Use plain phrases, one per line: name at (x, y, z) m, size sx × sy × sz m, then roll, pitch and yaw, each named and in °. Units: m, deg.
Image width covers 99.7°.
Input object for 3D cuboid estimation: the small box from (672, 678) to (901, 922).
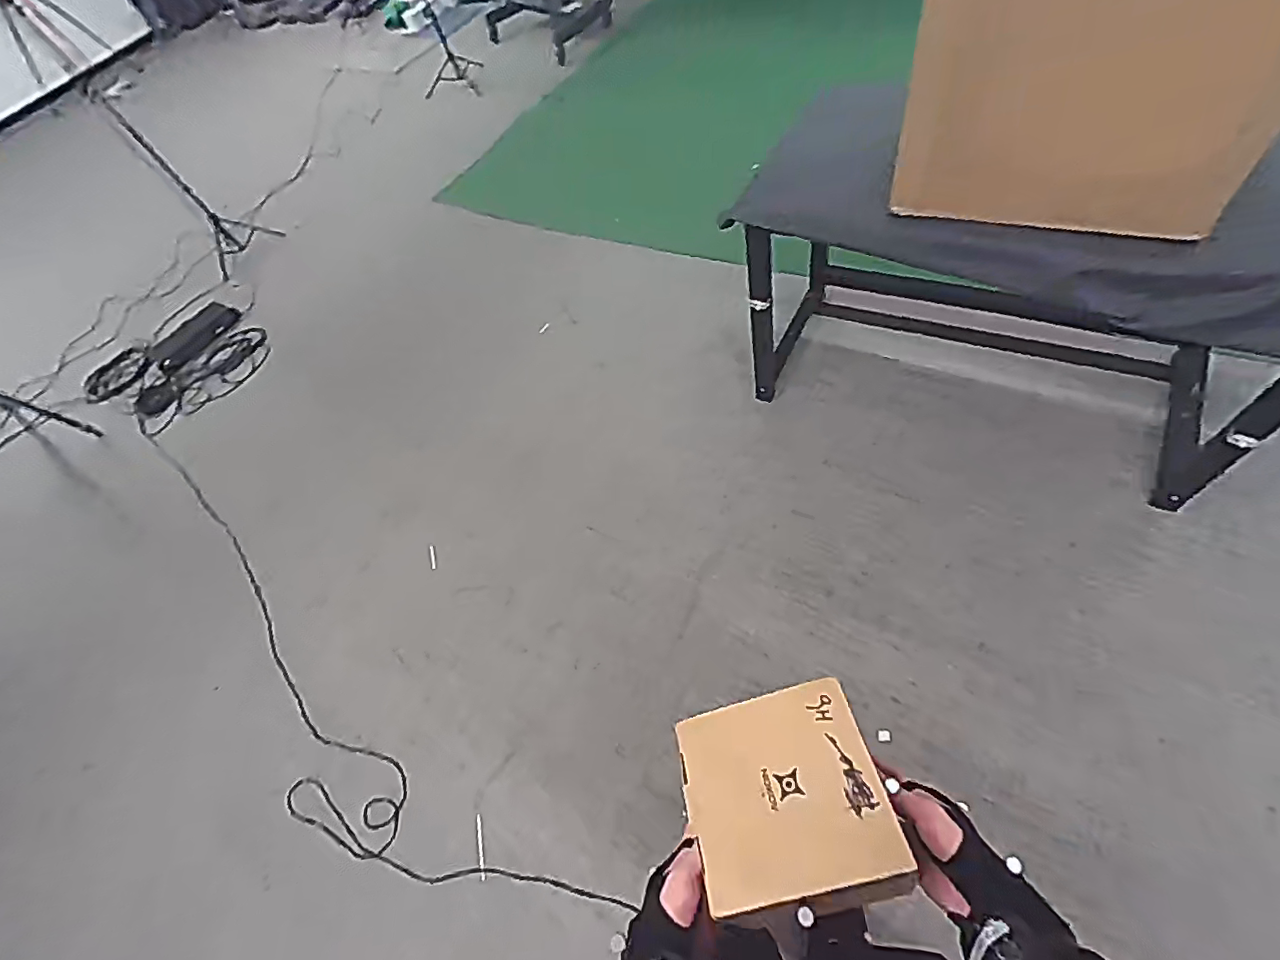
small box at (0.150, 0.335, 0.558) m, size 0.179 × 0.176 × 0.168 m, roll -20°, pitch 45°, yaw 9°
